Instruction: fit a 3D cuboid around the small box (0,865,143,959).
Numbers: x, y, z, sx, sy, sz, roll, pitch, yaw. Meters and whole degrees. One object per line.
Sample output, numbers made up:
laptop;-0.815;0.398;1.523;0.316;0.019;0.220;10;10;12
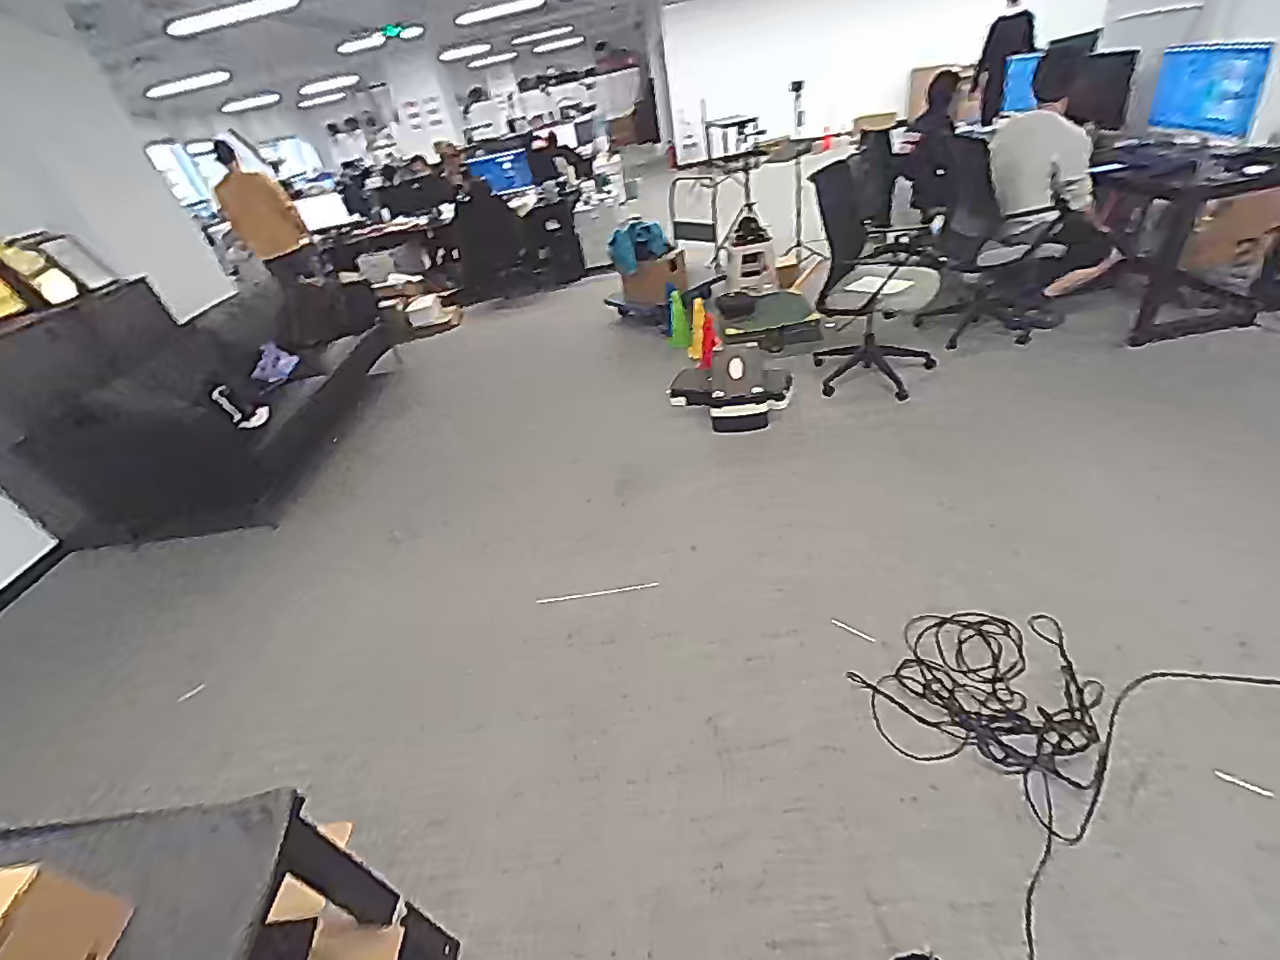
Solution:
small box;-0.794;0.608;0.662;0.179;0.176;0.168;-11;36;3
